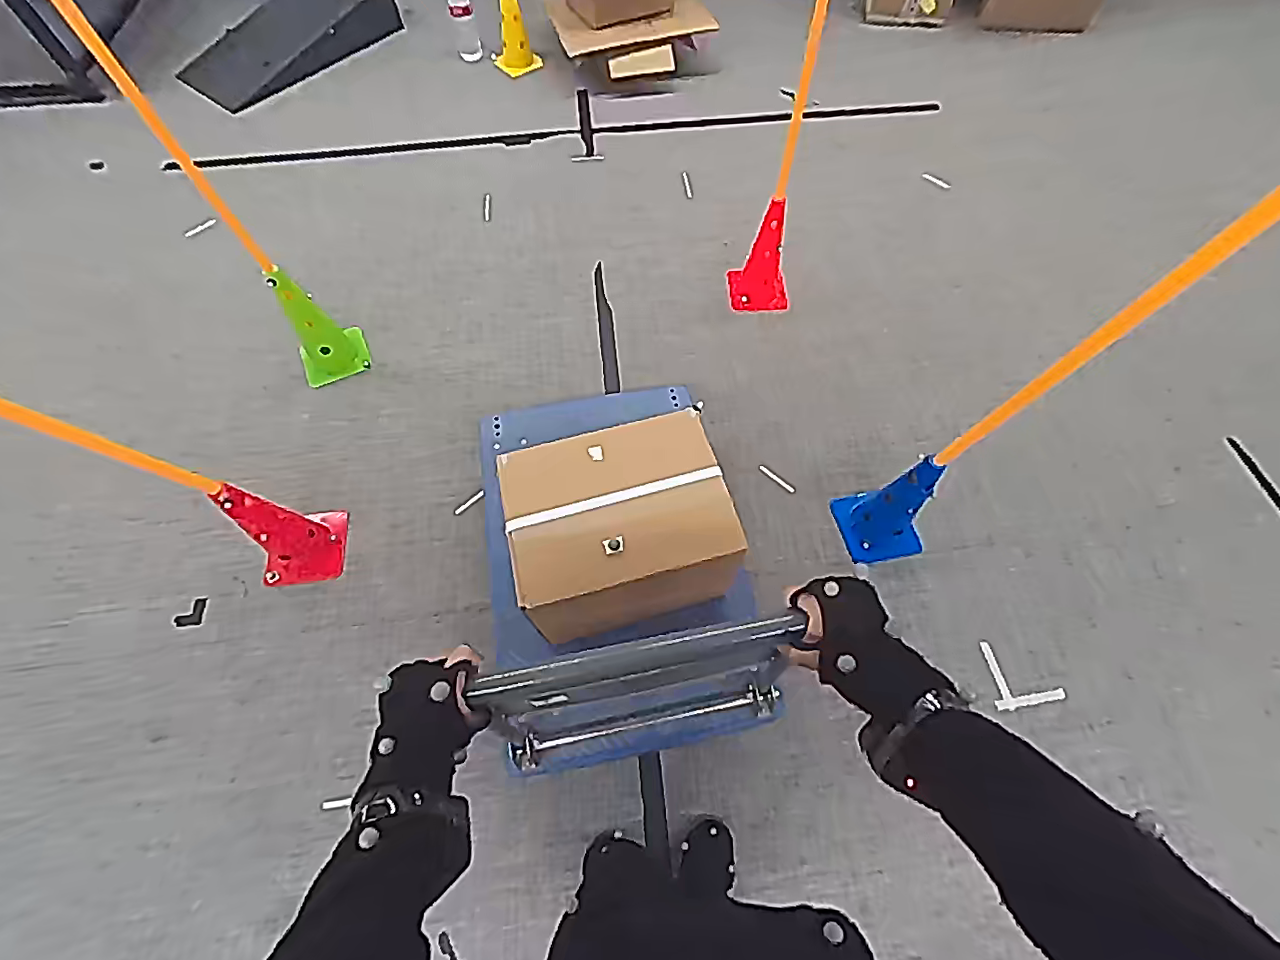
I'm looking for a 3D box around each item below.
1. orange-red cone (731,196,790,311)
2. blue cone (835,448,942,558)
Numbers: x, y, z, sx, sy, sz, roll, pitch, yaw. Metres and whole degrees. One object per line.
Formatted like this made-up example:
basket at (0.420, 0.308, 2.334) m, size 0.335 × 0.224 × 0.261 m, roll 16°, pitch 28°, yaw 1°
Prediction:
orange-red cone at (0.421, -0.745, 1.746) m, size 0.199 × 0.360 × 0.198 m, roll 0°, pitch 63°, yaw -1°
blue cone at (0.652, 0.042, 1.349) m, size 0.193 × 0.380 × 0.192 m, roll -9°, pitch 62°, yaw -5°
